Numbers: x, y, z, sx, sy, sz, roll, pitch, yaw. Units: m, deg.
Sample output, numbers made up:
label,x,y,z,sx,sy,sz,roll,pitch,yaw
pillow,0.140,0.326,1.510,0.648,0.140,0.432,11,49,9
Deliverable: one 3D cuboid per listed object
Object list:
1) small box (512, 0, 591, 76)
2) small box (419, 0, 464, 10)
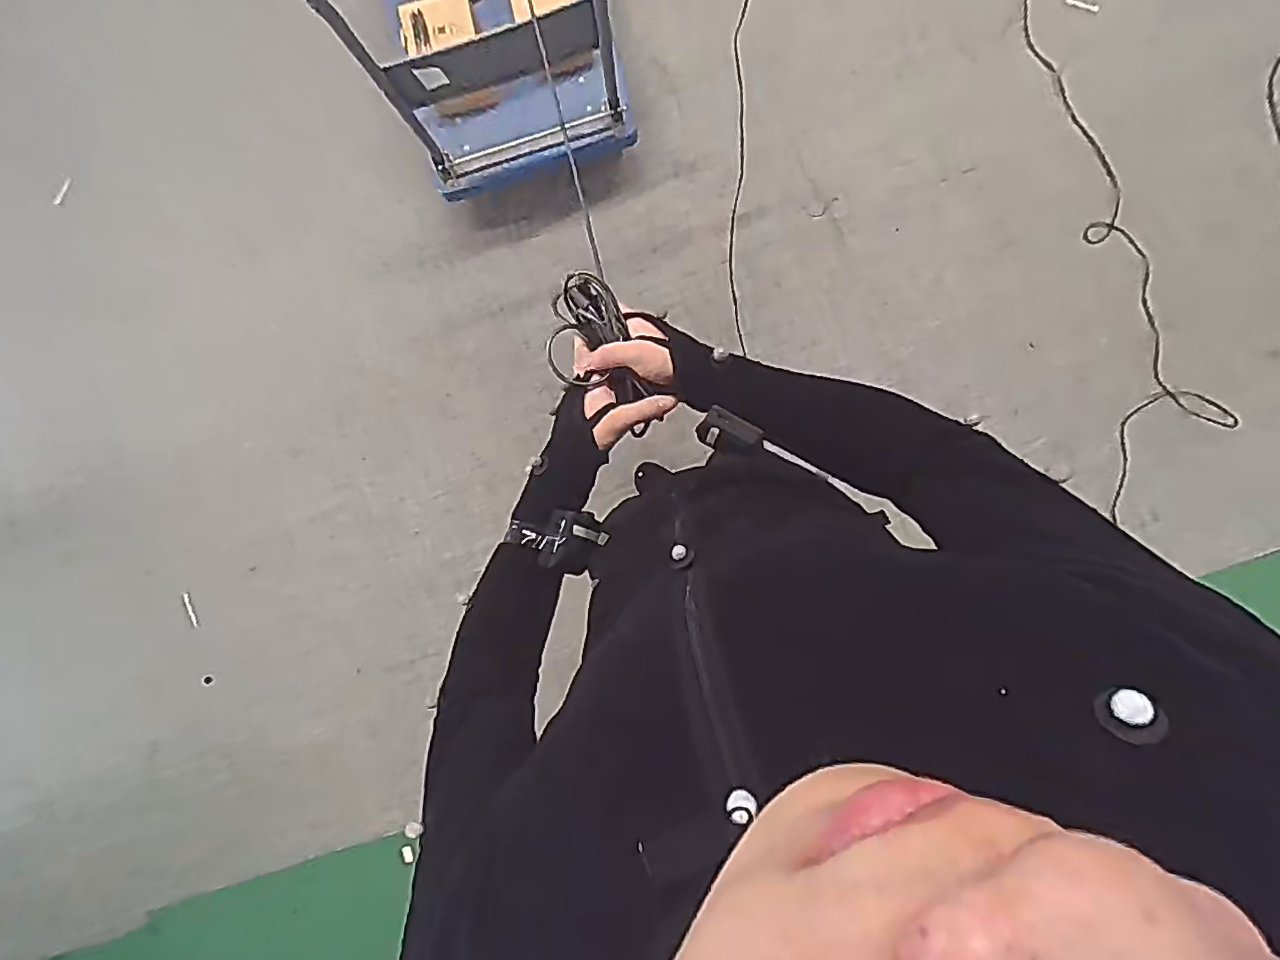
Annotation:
label,x,y,z,sx,sy,sz,roll,pitch,yaw
small box,-0.229,-1.183,1.369,0.168,0.176,0.179,-14,92,4
small box,-0.533,-1.362,1.383,0.168,0.176,0.179,-19,90,3
